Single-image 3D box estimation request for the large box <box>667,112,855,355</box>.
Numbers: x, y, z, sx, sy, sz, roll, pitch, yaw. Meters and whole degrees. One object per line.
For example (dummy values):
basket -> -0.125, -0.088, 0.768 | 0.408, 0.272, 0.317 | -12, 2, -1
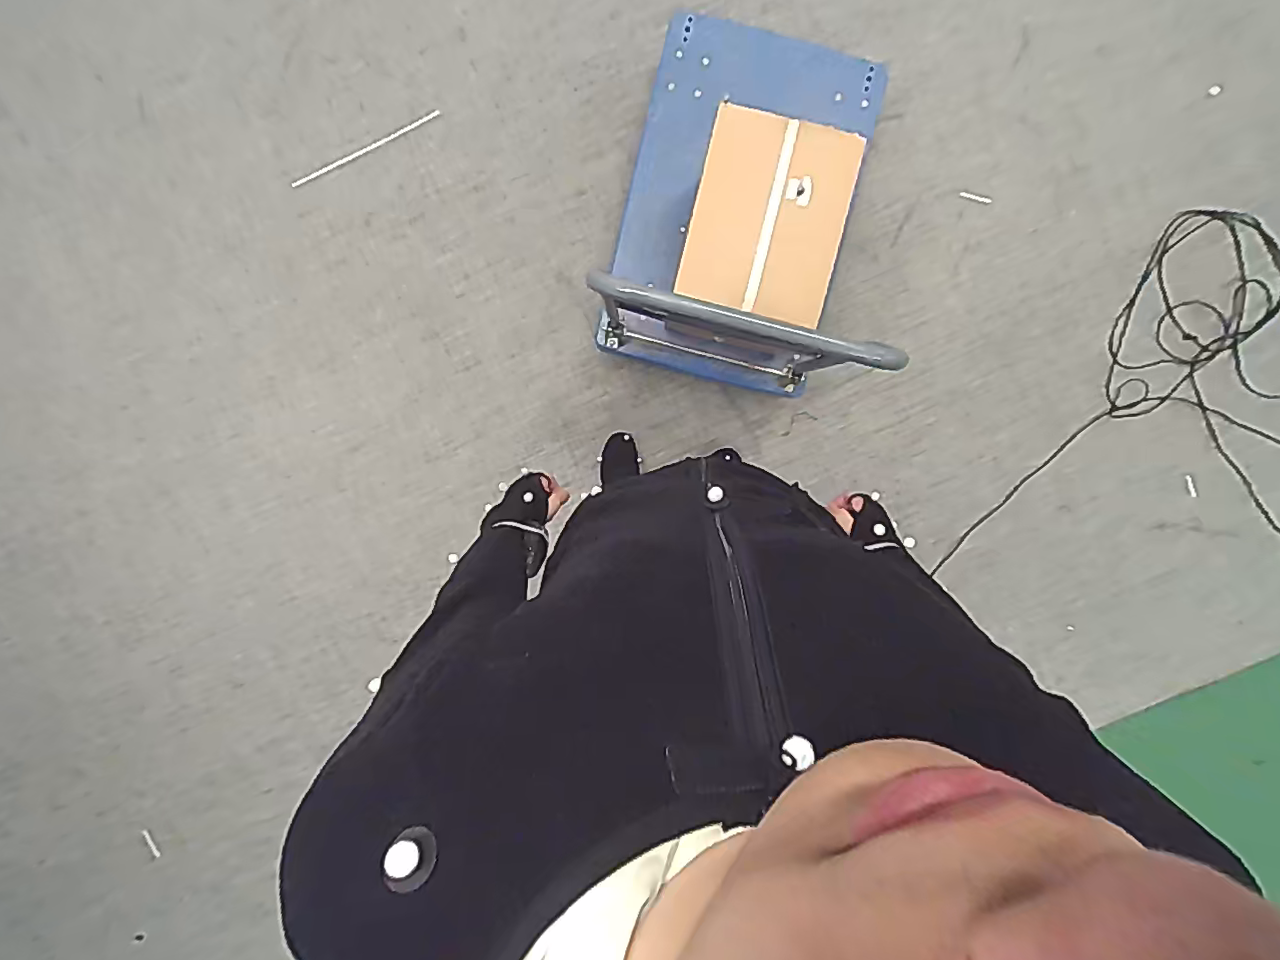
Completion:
large box -> 0.259, -0.548, 1.284 | 0.320, 0.320, 0.408 | 14, 93, -2
